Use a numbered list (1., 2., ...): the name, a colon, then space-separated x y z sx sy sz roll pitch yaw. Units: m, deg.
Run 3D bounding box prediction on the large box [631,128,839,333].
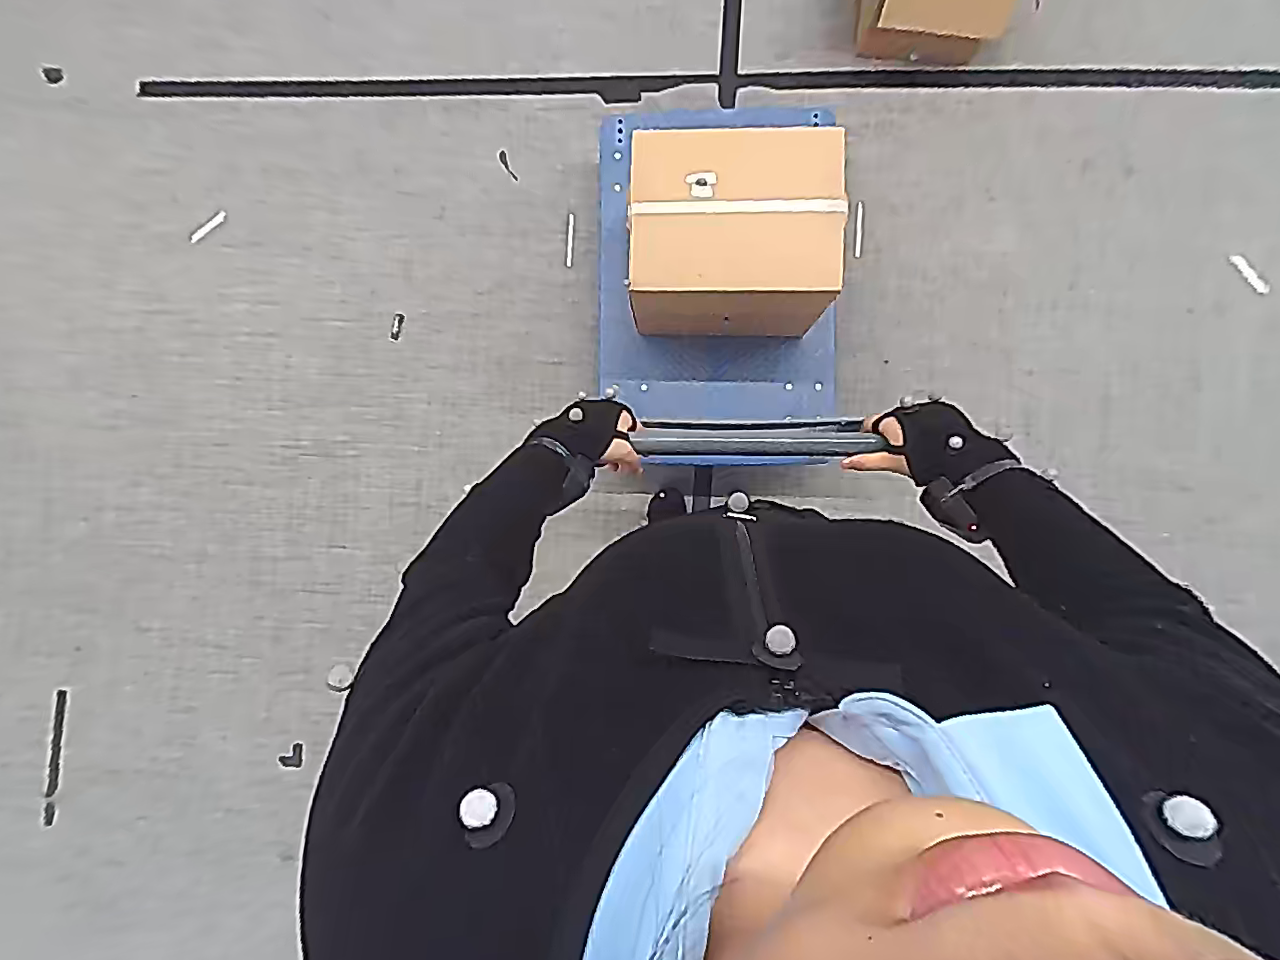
1. large box: 0.195 -0.520 1.196 0.408 0.320 0.320 1 88 5
